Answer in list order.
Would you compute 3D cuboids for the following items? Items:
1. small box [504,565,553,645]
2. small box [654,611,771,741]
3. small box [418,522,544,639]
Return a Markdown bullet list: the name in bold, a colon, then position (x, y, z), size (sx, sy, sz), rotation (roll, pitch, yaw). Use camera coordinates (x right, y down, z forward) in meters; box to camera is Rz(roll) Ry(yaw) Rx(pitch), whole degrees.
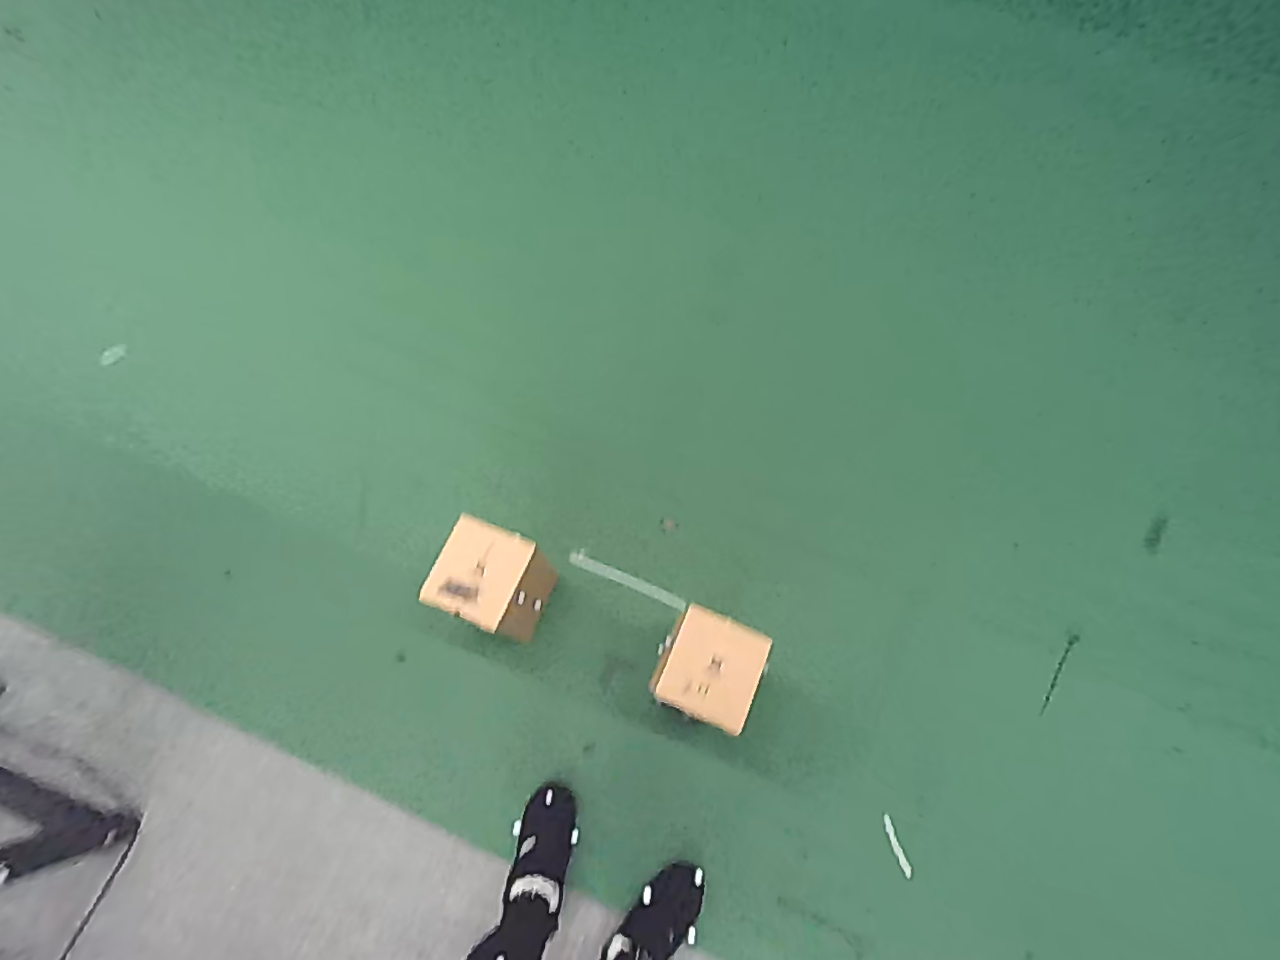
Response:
- **small box**: position (-0.313, 0.269, 1.259), size (0.168, 0.176, 0.179), rotation (22, 72, 7)
- **small box**: position (0.131, 0.376, 1.050), size (0.168, 0.176, 0.179), rotation (23, 72, 7)
- **small box**: position (-0.311, 0.213, 1.105), size (0.168, 0.176, 0.179), rotation (22, 71, 7)
